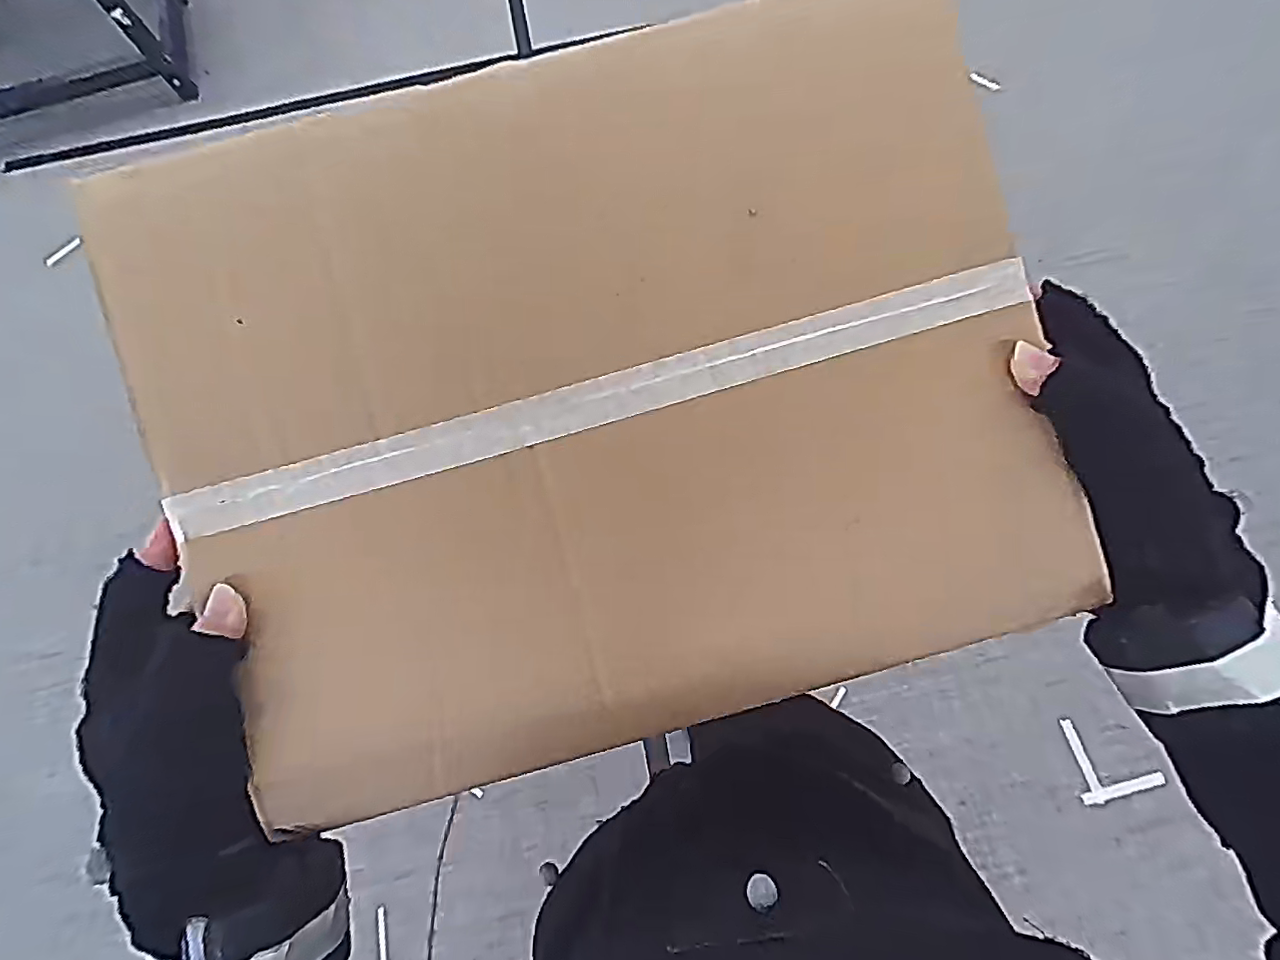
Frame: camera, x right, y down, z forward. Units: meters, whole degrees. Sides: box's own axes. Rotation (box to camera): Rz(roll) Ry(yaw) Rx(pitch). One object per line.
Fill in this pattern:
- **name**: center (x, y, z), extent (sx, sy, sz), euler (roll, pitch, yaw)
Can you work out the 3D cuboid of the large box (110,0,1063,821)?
- **large box**: center (-0.021, -0.039, 0.409), extent (0.408, 0.320, 0.320), euler (-16, 91, -1)
